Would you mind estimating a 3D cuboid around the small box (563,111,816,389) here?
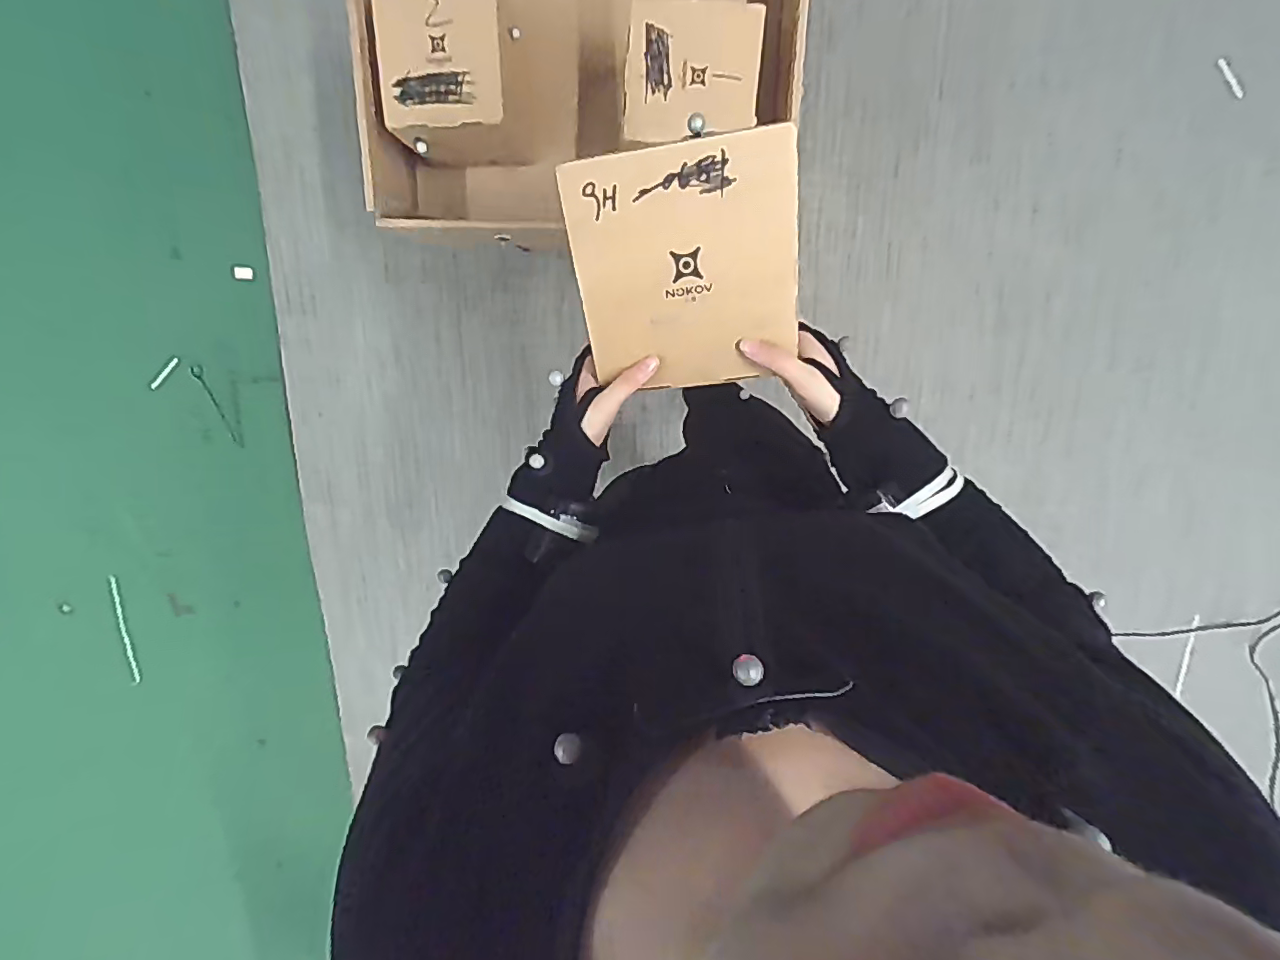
[{"bbox_3d":[0.045,-0.197,0.457,0.168,0.176,0.179,-5,123,7],"label":"small box"}]
